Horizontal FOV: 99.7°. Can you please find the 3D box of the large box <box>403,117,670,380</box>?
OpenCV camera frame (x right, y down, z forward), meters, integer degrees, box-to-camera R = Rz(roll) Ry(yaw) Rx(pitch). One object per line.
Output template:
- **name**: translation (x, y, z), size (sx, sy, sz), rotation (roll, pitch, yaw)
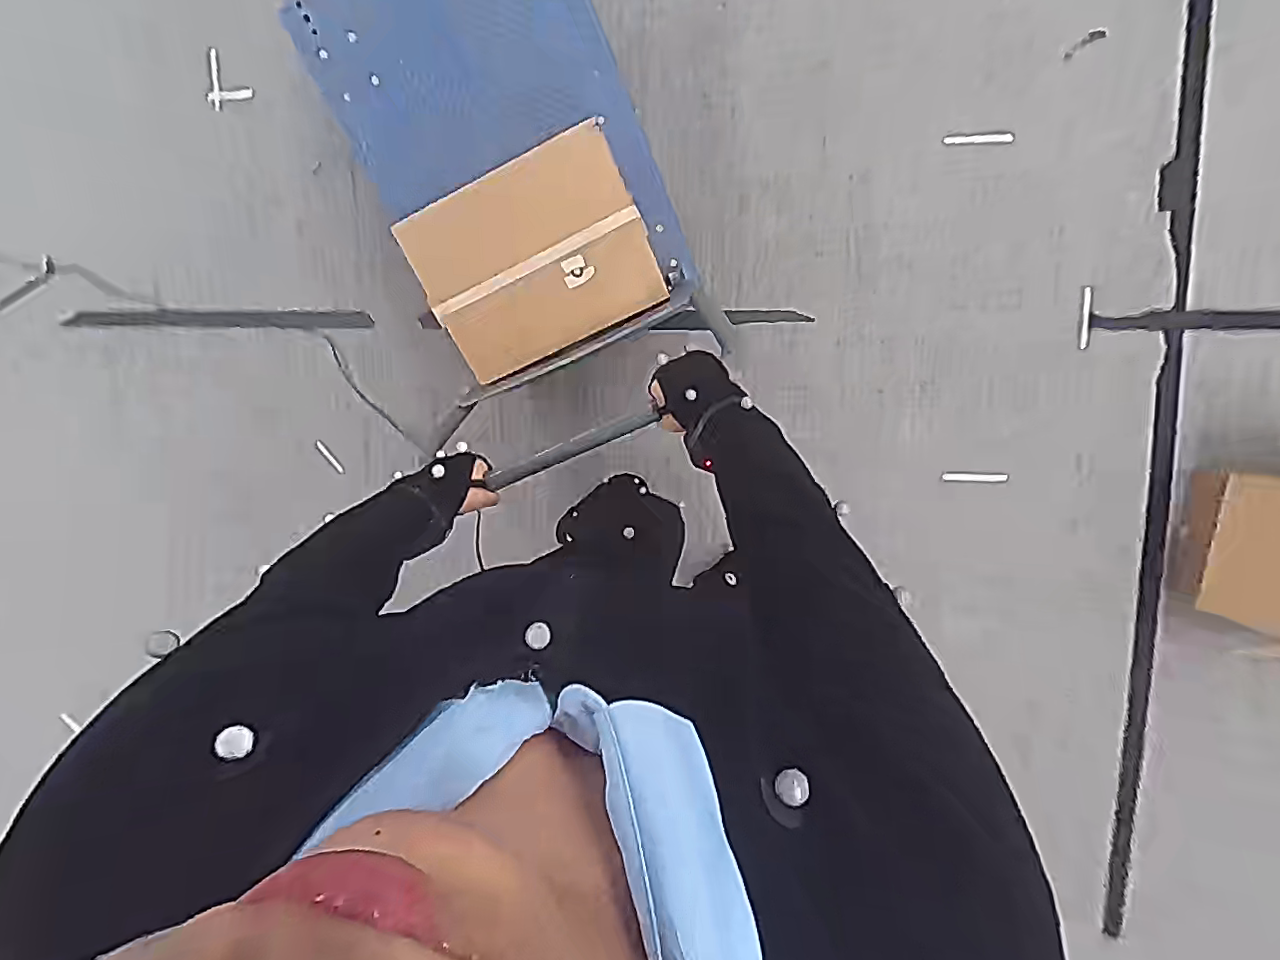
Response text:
- **large box**: translation (-0.188, -0.454, 1.121), size (0.408, 0.320, 0.320), rotation (-24, 111, 8)
